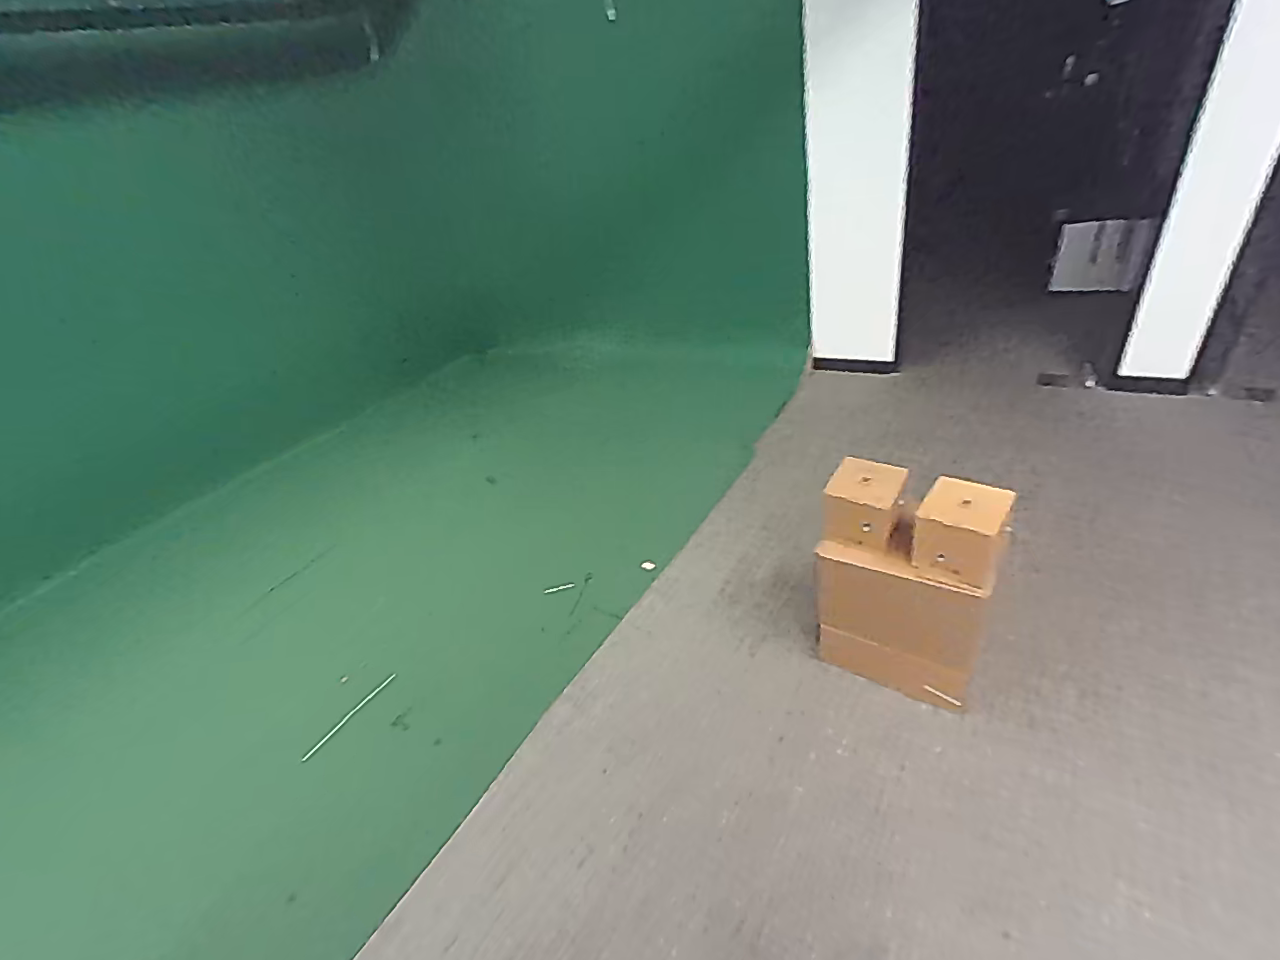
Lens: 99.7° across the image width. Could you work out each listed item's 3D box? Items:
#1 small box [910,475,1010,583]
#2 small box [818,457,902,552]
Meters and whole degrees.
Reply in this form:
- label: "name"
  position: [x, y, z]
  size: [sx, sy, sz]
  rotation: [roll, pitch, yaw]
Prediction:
- label: "small box"
  position: [0.775, 0.117, 1.322]
  size: [0.168, 0.176, 0.179]
  rotation: [17, 45, 40]
- label: "small box"
  position: [0.595, 0.066, 1.464]
  size: [0.168, 0.176, 0.179]
  rotation: [16, 45, 34]
